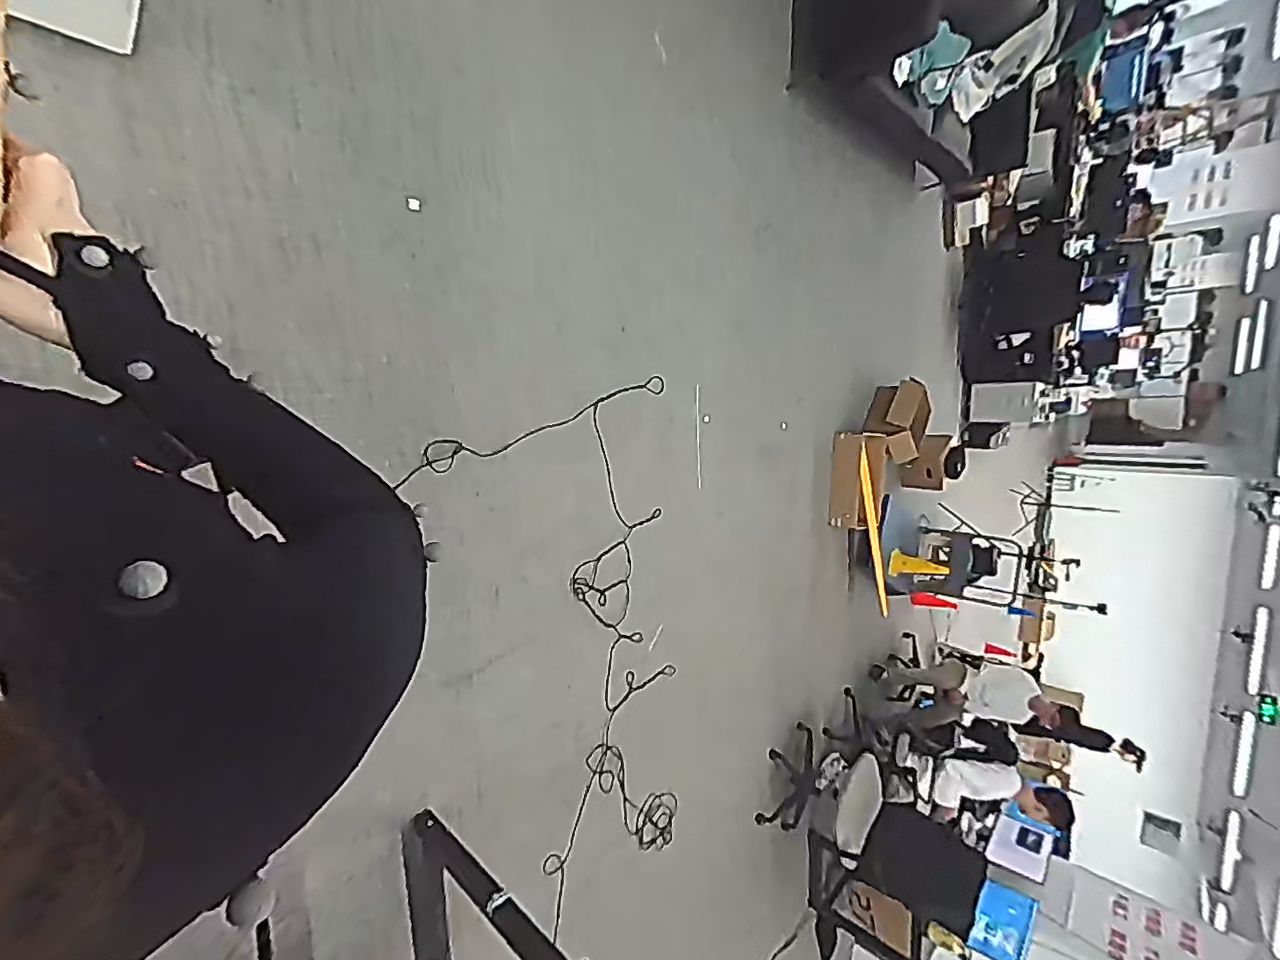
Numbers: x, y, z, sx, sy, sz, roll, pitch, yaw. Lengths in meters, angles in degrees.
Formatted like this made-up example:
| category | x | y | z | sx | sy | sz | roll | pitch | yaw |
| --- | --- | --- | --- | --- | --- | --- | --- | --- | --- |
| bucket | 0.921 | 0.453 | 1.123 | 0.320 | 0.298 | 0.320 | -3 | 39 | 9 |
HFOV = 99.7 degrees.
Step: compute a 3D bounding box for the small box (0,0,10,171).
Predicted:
| category | x | y | z | sx | sy | sz | roll | pitch | yaw |
| --- | --- | --- | --- | --- | --- | --- | --- | --- | --- |
| small box | -0.427 | -0.231 | 0.255 | 0.168 | 0.176 | 0.179 | 2 | 86 | -52 |
